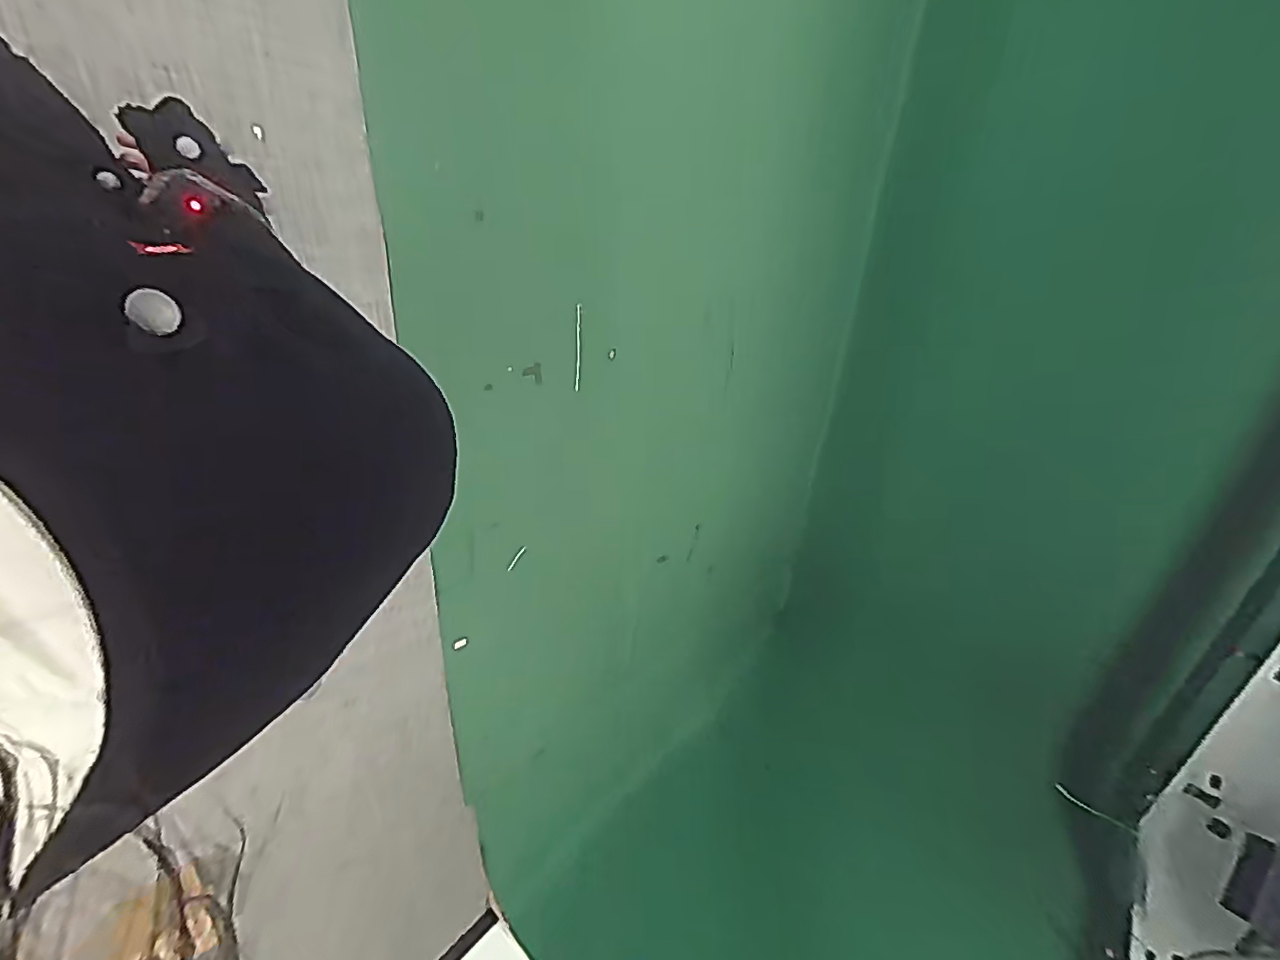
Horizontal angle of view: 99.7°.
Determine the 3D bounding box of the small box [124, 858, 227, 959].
[{"bbox_3d":[-1.261,1.192,1.466,0.179,0.176,0.168,-19,126,-46],"label":"small box"}]
